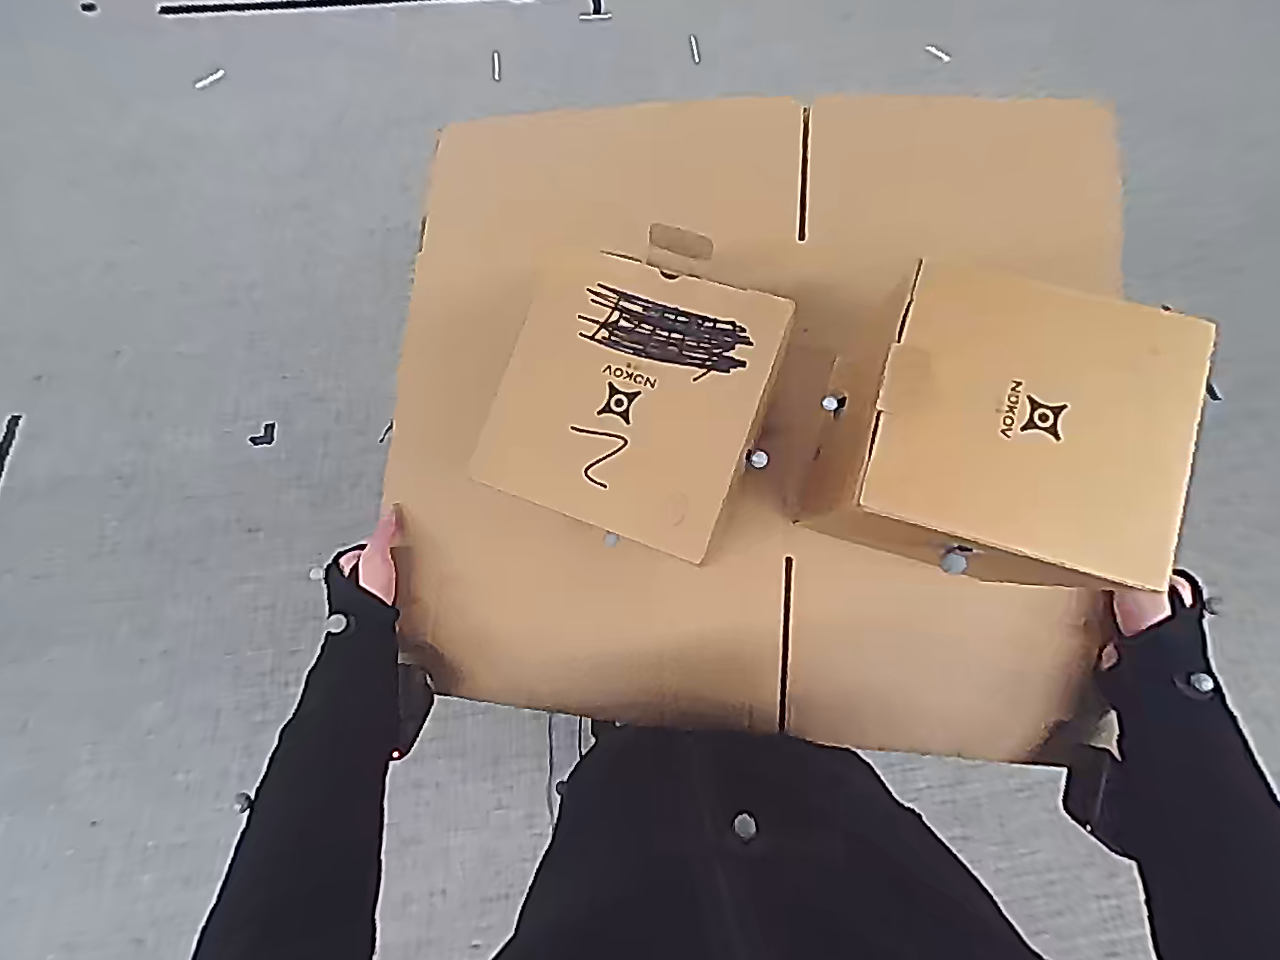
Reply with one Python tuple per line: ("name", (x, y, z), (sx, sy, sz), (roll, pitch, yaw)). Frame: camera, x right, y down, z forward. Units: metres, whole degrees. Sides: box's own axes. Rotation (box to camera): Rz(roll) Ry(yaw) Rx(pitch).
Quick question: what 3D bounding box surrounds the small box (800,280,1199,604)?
("small box", (0.241, -0.019, 0.410), (0.179, 0.176, 0.168), (16, 84, 7))
